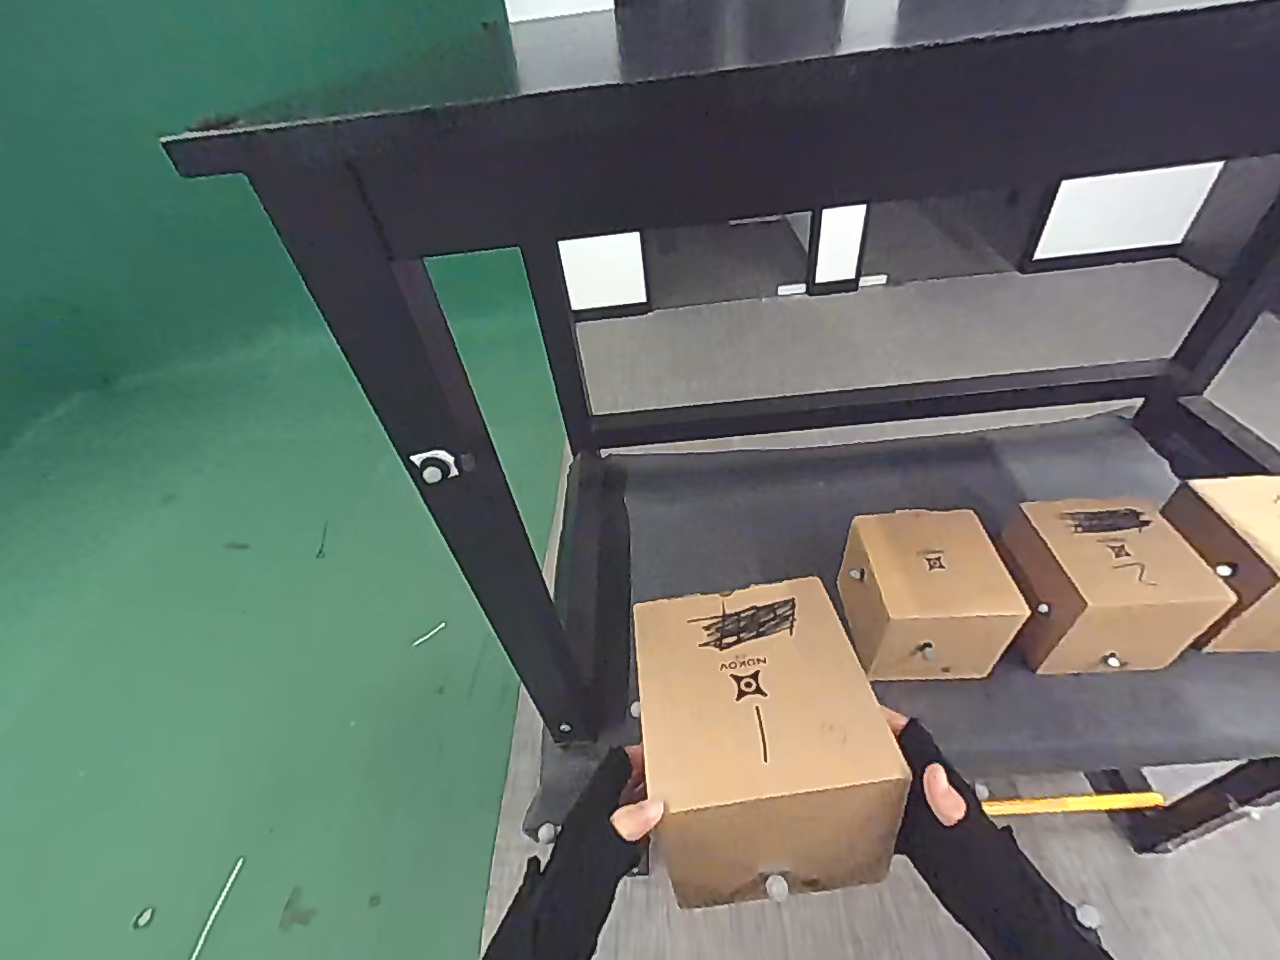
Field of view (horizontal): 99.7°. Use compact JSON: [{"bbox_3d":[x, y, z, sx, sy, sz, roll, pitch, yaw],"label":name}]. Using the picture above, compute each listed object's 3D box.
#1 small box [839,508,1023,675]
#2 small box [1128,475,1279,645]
[{"bbox_3d":[0.393,0.164,0.769,0.168,0.176,0.179,-4,42,6],"label":"small box"},{"bbox_3d":[0.842,0.114,0.742,0.168,0.176,0.179,-3,42,6],"label":"small box"}]
